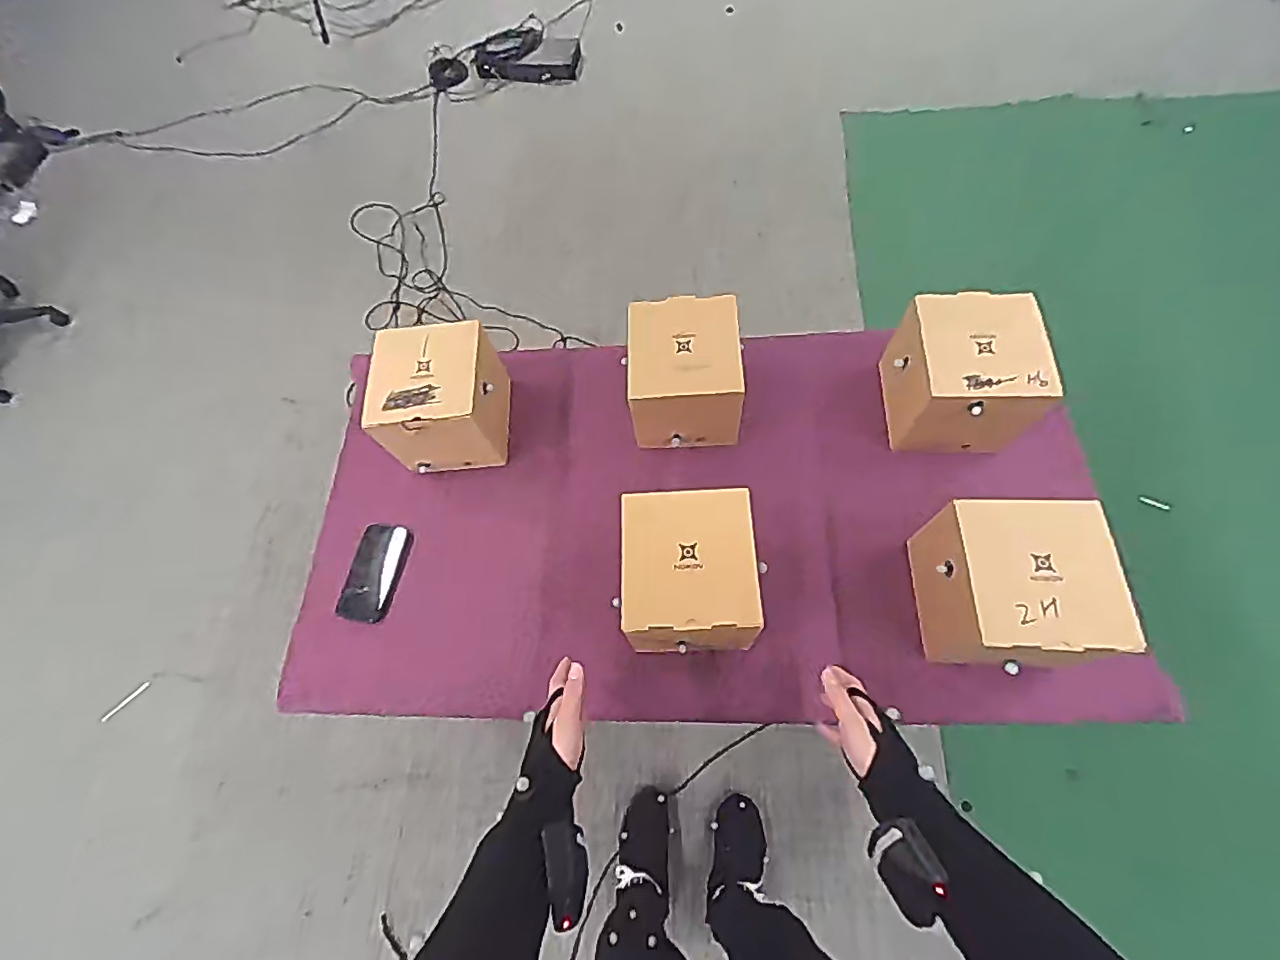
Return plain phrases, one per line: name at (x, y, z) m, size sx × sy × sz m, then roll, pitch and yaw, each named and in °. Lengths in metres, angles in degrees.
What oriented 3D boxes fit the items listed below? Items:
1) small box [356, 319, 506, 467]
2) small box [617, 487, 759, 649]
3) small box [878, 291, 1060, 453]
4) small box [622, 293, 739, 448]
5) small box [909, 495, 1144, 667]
small box at (-0.323, -0.130, 0.873) m, size 0.168 × 0.176 × 0.179 m, roll -5°, pitch 65°, yaw 3°
small box at (0.059, 0.123, 0.724) m, size 0.168 × 0.176 × 0.179 m, roll -3°, pitch 65°, yaw 4°
small box at (0.472, -0.157, 0.810) m, size 0.168 × 0.176 × 0.179 m, roll 1°, pitch 66°, yaw 7°
small box at (0.064, -0.166, 0.854) m, size 0.168 × 0.176 × 0.179 m, roll -2°, pitch 67°, yaw 5°
small box at (0.457, 0.131, 0.678) m, size 0.168 × 0.176 × 0.179 m, roll 0°, pitch 66°, yaw 7°
